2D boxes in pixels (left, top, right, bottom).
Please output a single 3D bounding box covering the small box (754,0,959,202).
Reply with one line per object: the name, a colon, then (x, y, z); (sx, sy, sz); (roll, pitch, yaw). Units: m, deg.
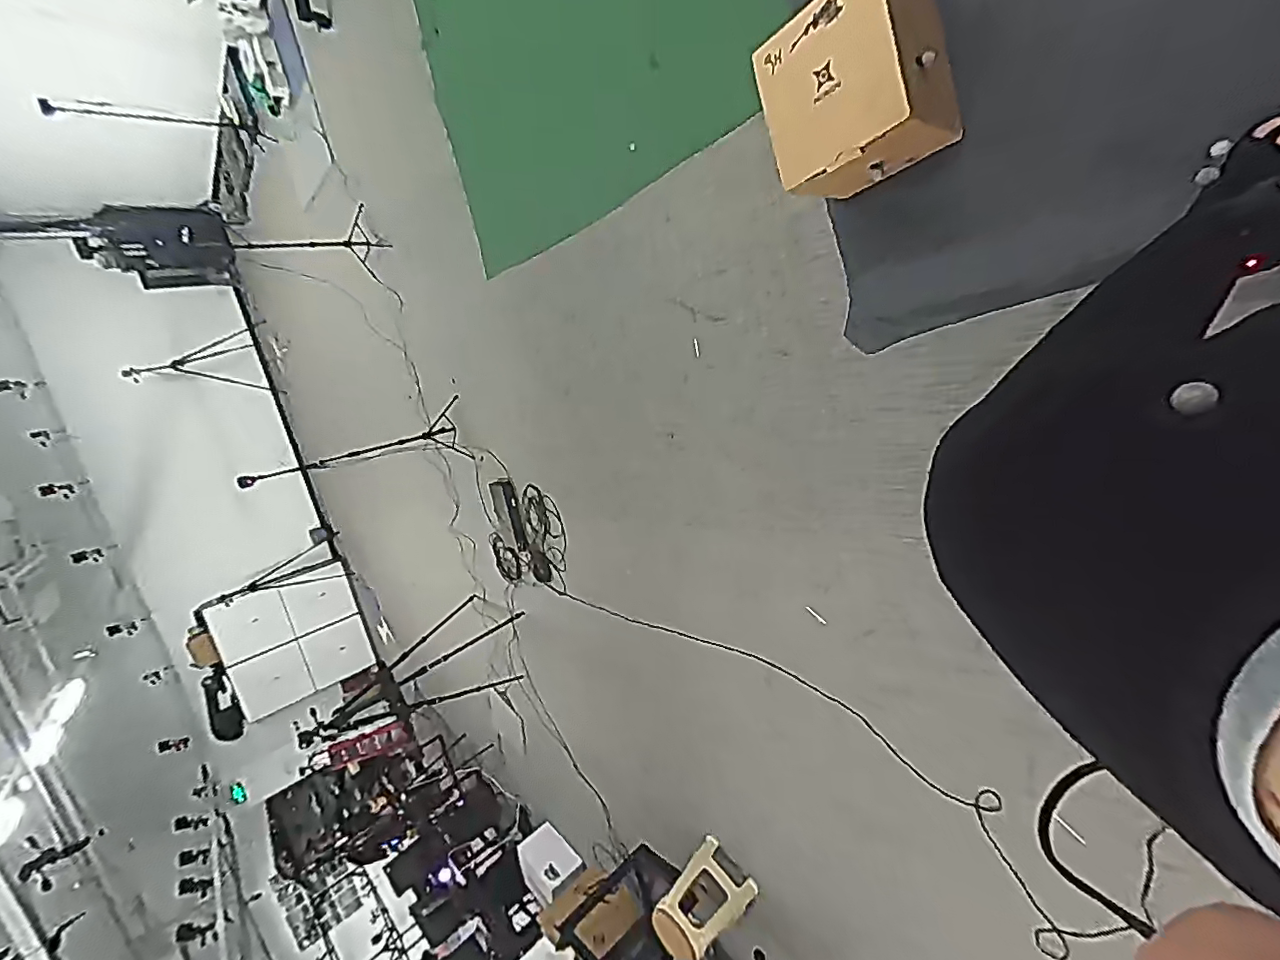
small box: (0.279, -0.479, 0.687); (0.168, 0.176, 0.179); (-8, 102, 50)
